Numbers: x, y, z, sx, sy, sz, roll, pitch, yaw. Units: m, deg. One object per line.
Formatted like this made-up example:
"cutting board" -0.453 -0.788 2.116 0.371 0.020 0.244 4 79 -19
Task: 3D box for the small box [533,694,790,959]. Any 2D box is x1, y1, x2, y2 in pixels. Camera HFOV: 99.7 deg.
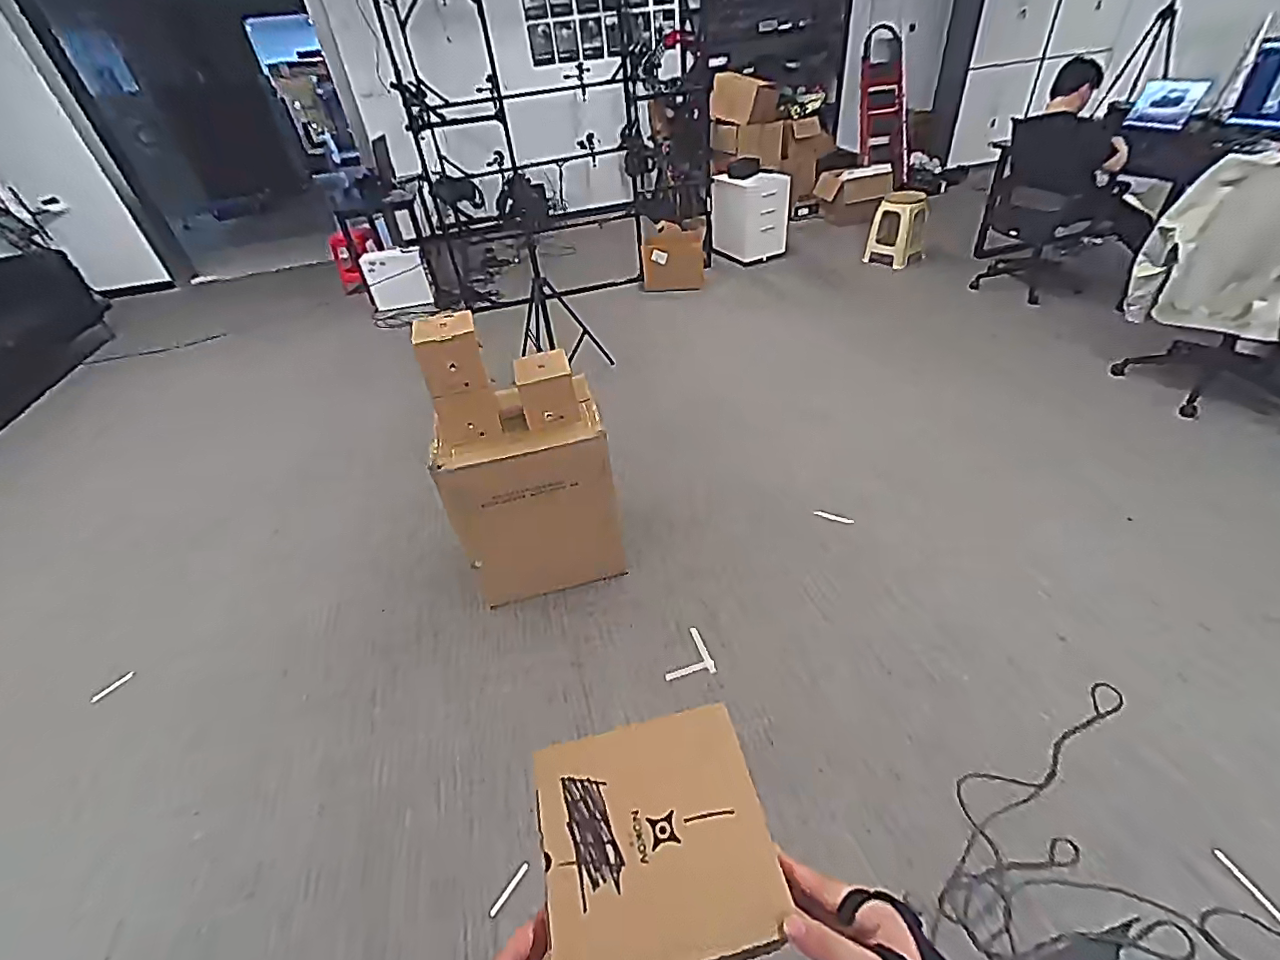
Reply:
"small box" 0.013 0.323 0.482 0.179 0.176 0.168 -12 46 -6

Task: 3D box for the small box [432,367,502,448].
"small box" -0.527 -0.222 1.657 0.168 0.176 0.179 -14 40 -10

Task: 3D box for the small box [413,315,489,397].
"small box" -0.542 -0.351 1.557 0.168 0.176 0.179 -14 40 -11

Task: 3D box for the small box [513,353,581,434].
"small box" -0.289 -0.269 1.682 0.168 0.176 0.179 -15 41 -7
